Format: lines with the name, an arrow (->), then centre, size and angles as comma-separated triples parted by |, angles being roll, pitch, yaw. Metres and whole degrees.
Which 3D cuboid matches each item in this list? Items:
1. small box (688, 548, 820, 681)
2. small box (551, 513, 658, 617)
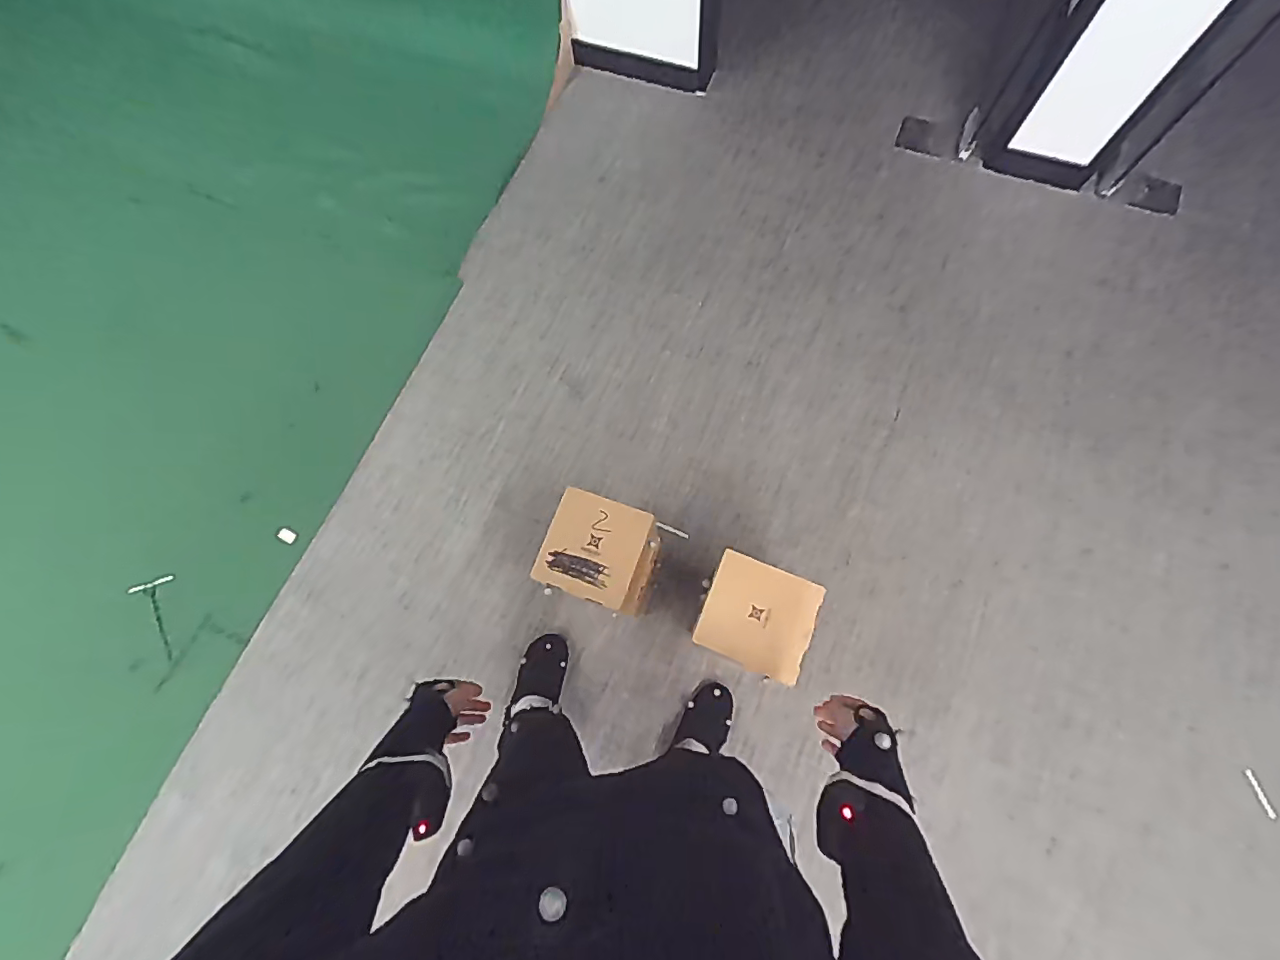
small box -> 0.191, 0.241, 0.961 | 0.179, 0.176, 0.168 | 22, 76, 9
small box -> -0.067, 0.189, 1.164 | 0.179, 0.176, 0.168 | 18, 75, 10
